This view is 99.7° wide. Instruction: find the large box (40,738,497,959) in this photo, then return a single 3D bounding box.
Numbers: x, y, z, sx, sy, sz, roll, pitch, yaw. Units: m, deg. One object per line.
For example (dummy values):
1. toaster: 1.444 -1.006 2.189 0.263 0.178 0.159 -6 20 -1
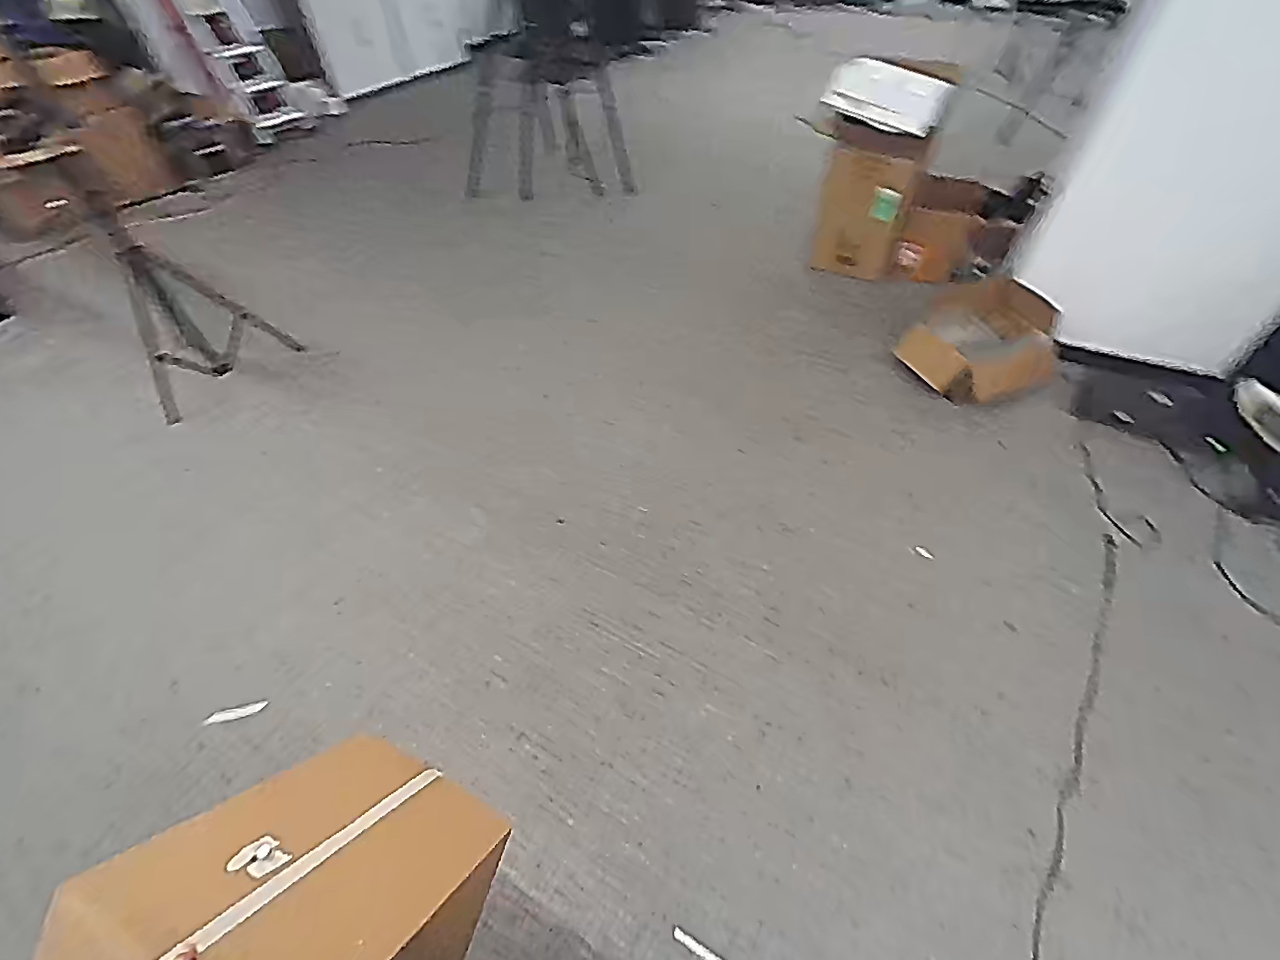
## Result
1. large box: -0.463 0.633 0.712 0.320 0.408 0.320 21 95 17
